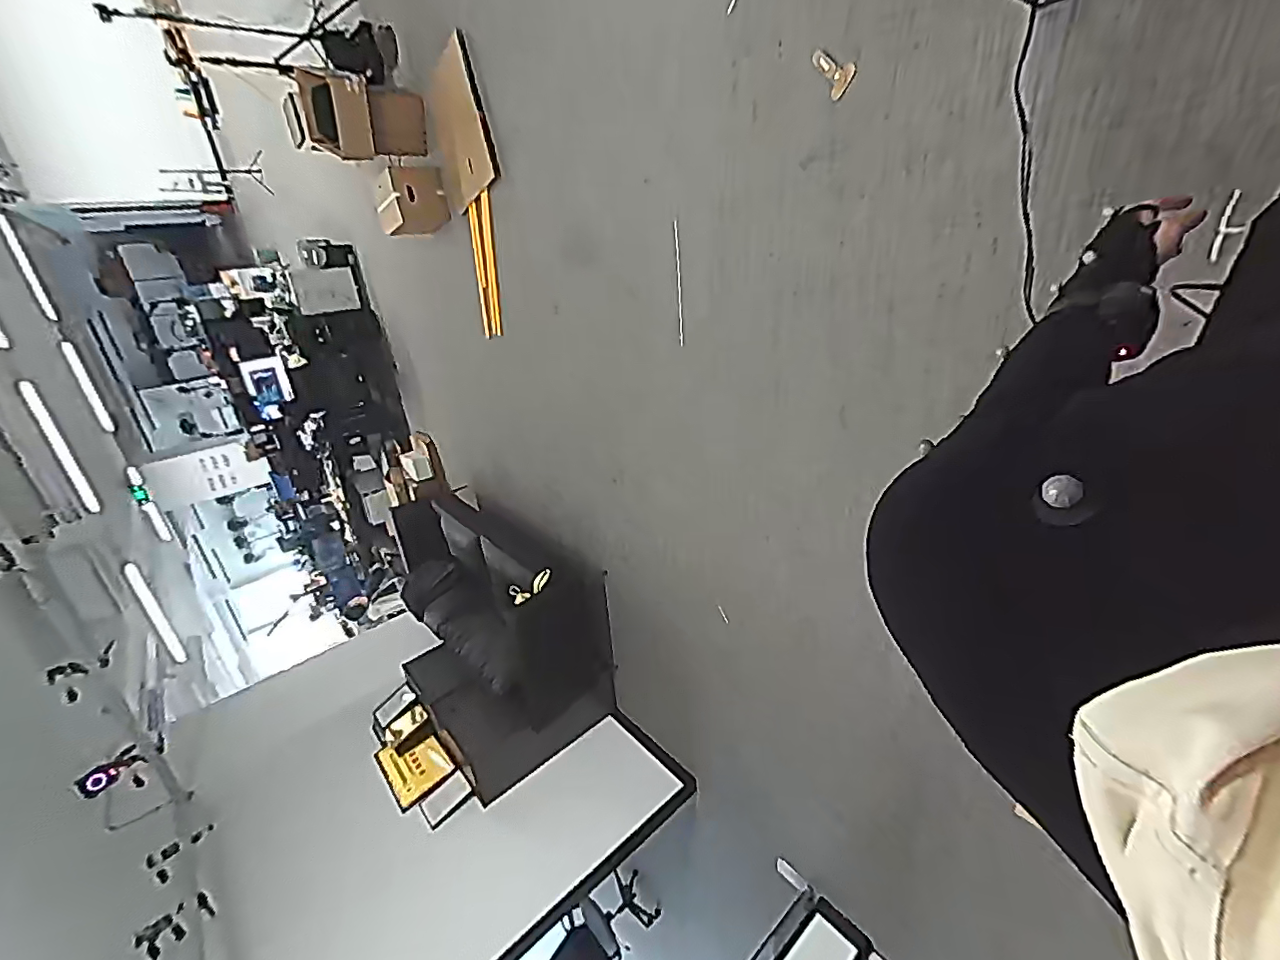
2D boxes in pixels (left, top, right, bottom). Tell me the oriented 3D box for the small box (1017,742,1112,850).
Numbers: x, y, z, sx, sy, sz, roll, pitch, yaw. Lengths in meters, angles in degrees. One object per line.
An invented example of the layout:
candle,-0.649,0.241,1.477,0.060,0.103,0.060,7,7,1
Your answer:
small box,1.256,0.928,1.600,0.168,0.176,0.179,23,125,46
